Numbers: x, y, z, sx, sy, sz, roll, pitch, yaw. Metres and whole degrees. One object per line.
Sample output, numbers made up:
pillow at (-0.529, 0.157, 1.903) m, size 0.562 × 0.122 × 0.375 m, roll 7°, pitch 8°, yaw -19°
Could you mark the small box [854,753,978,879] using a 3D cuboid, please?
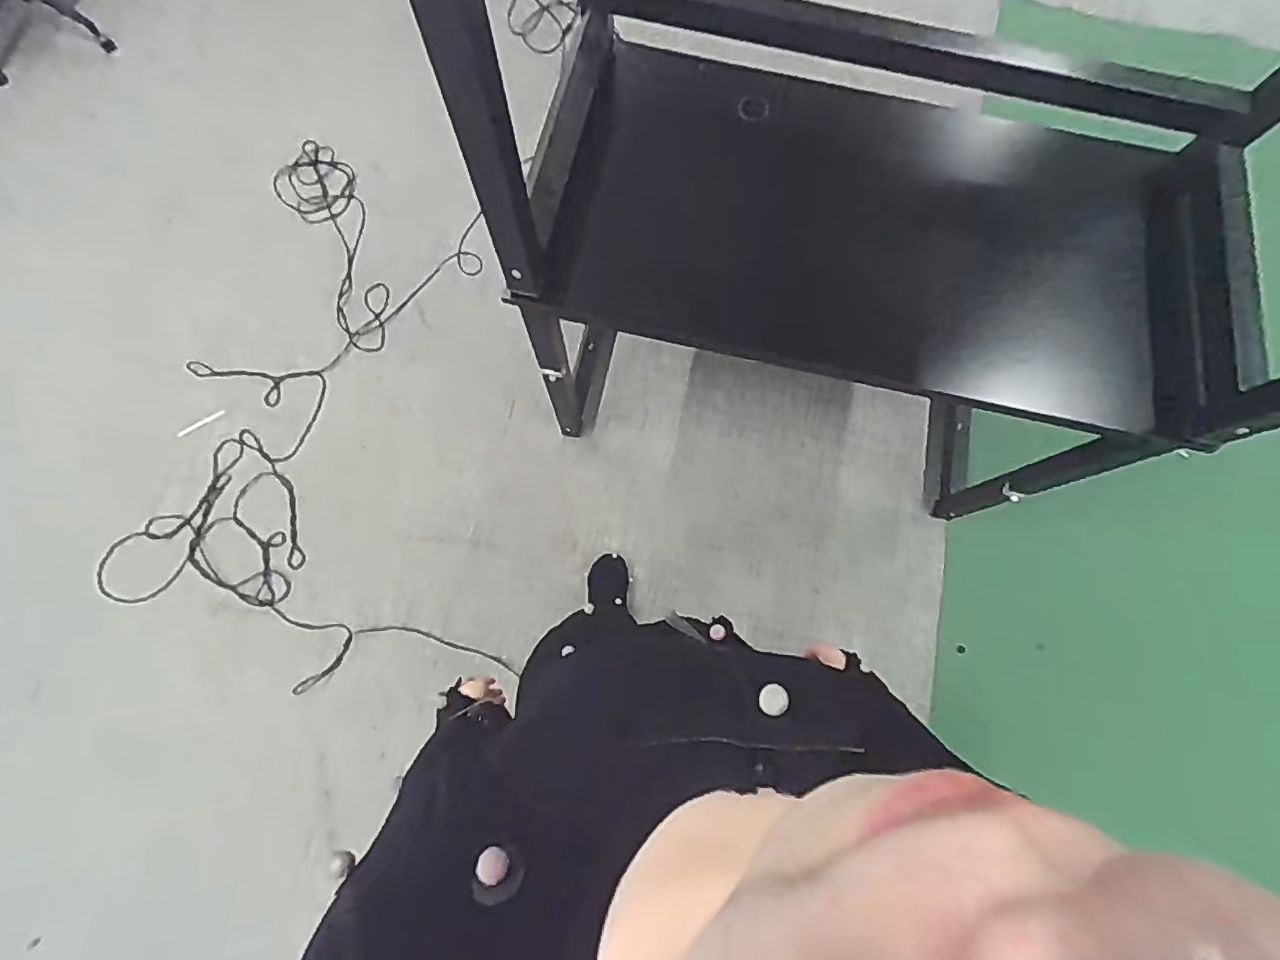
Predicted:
small box at (0.583, 0.707, 1.161) m, size 0.179 × 0.176 × 0.168 m, roll 14°, pitch 77°, yaw 2°
